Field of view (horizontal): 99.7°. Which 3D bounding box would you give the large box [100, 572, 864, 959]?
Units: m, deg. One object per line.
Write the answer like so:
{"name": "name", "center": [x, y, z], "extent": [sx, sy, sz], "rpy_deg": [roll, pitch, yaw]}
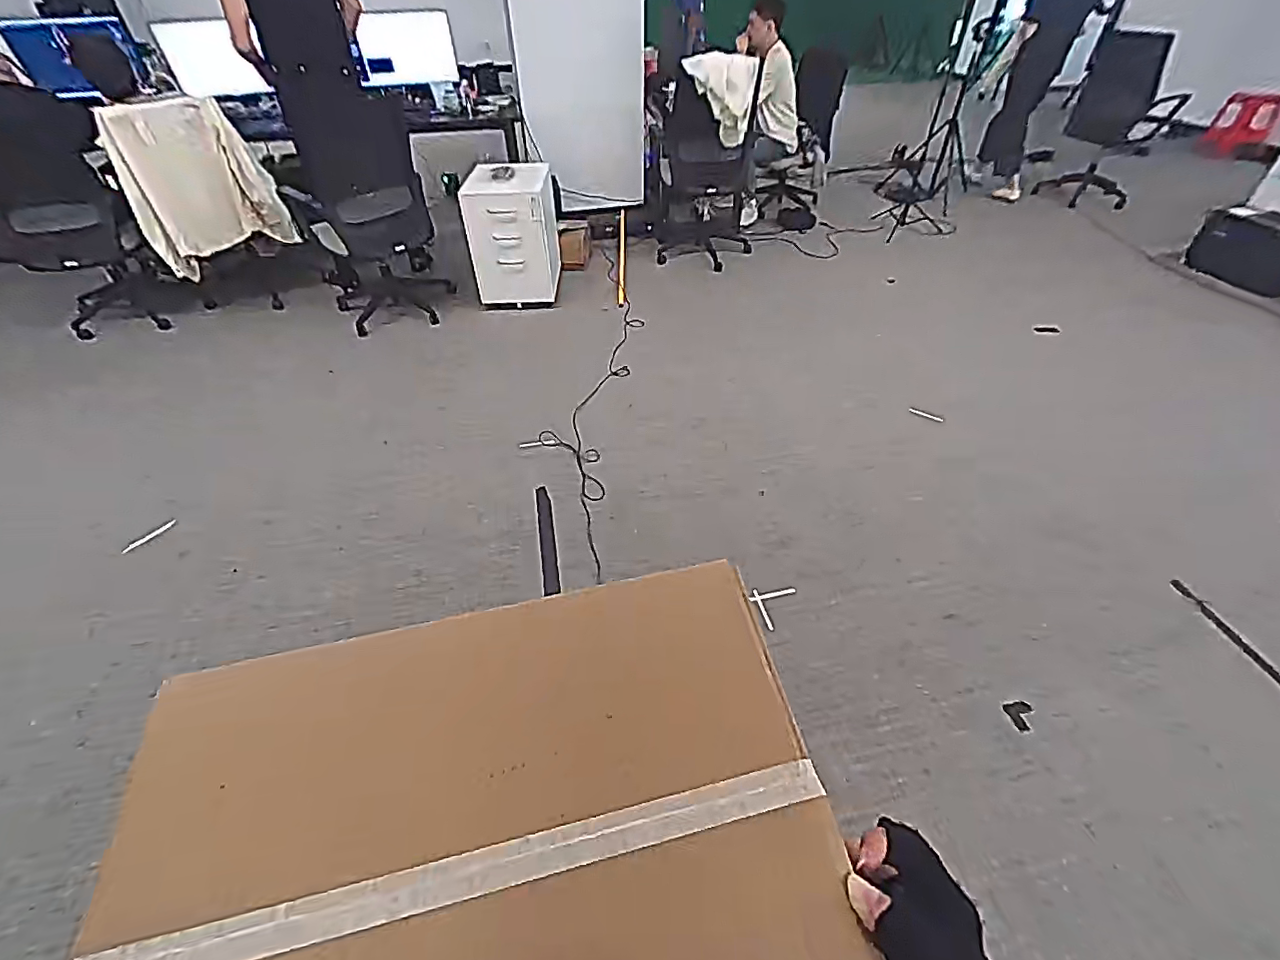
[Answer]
{"name": "large box", "center": [-0.090, 0.317, 0.429], "extent": [0.408, 0.320, 0.320], "rpy_deg": [-11, 52, -7]}
